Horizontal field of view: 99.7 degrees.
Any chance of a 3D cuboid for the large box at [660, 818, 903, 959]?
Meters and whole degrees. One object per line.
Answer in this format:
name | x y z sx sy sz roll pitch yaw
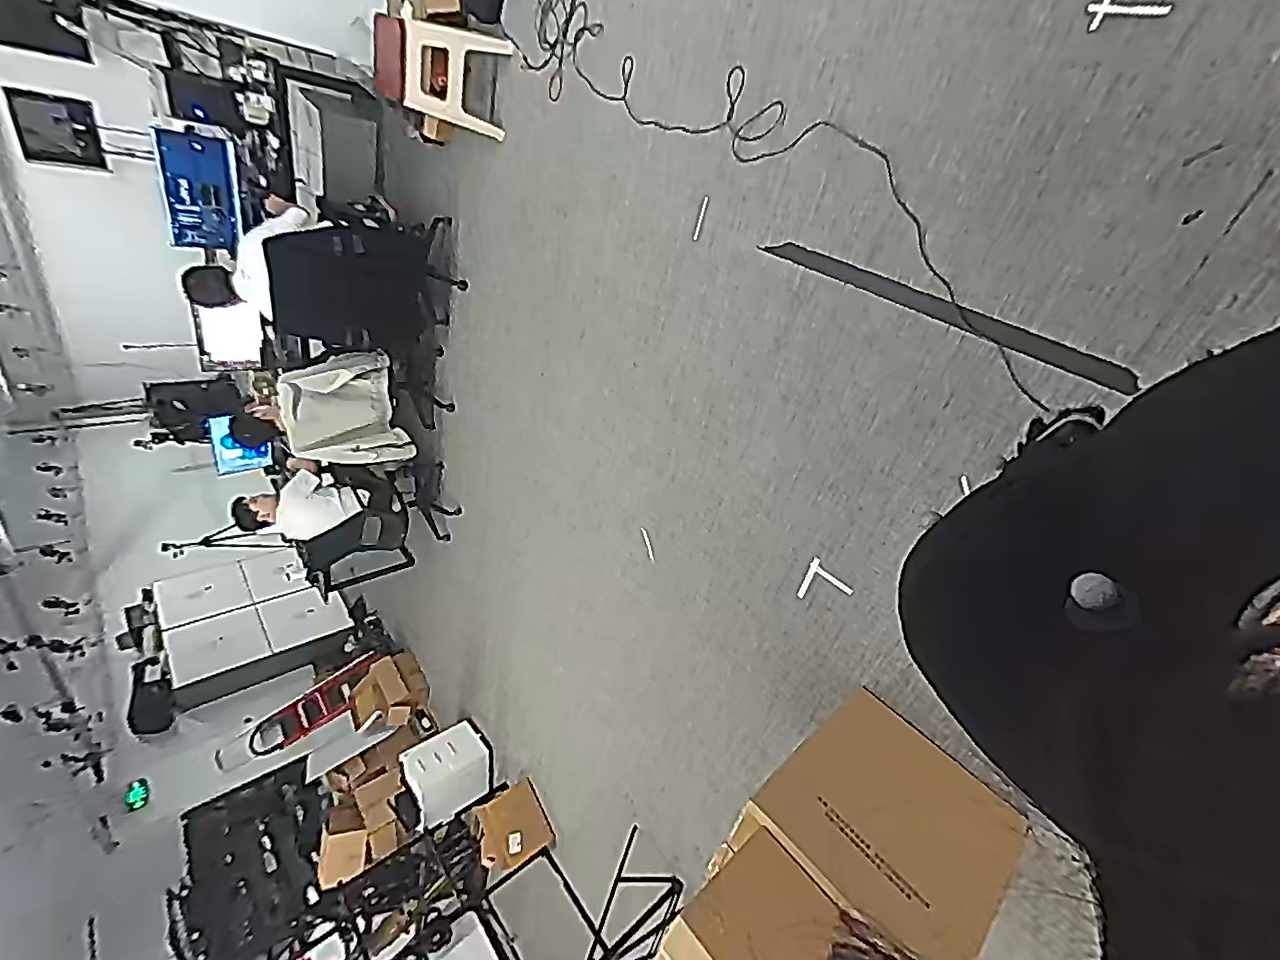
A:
large box | 0.313 1.086 1.206 0.408 0.320 0.320 37 127 36
